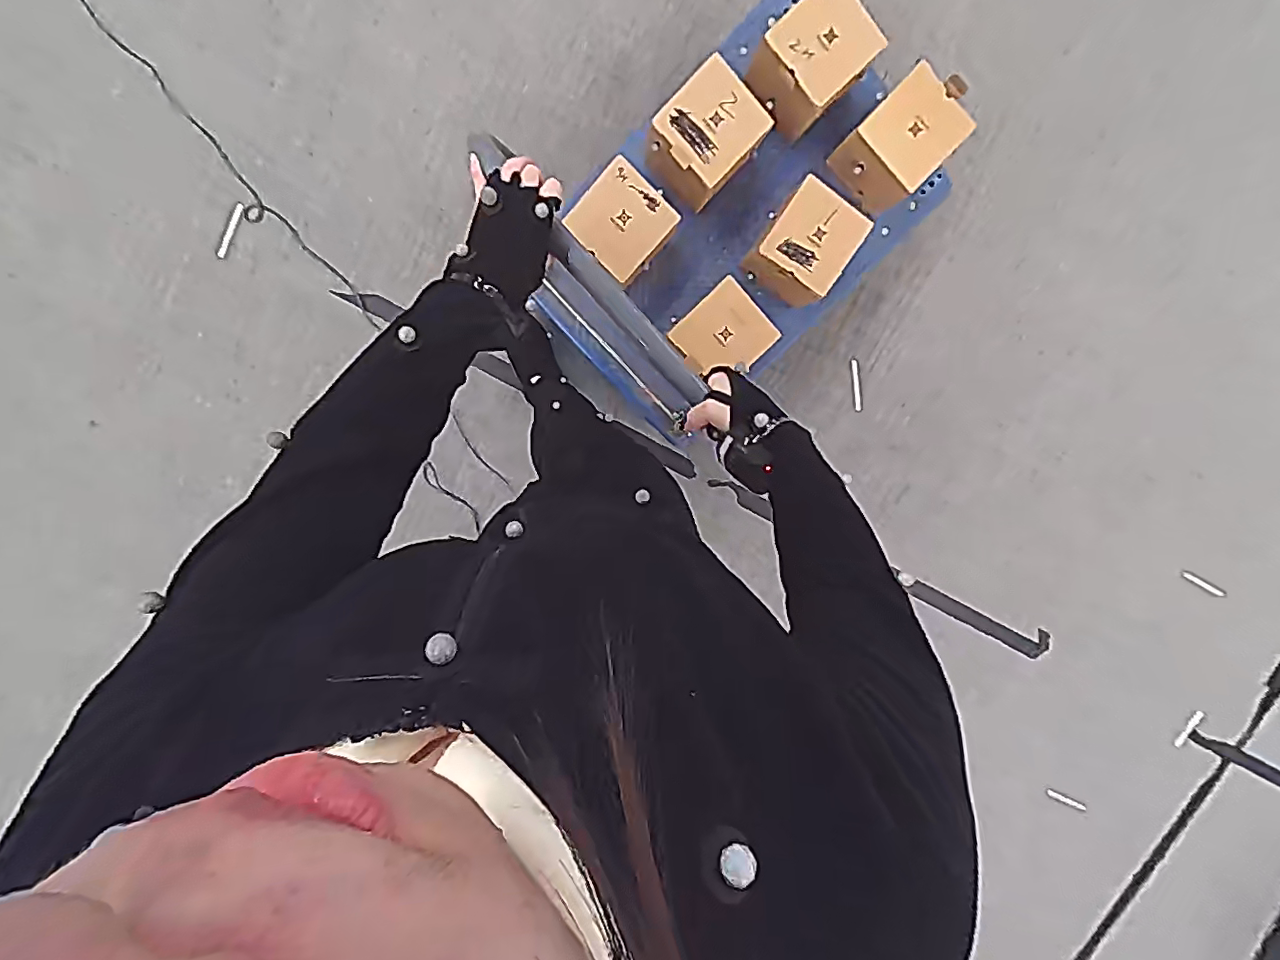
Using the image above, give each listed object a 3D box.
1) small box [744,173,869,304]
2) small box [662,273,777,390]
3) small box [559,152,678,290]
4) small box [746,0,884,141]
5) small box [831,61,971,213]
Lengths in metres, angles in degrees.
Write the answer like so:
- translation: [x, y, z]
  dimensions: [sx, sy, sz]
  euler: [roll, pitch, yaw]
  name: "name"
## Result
- translation: [0.340, -0.499, 1.152]
  dimensions: [0.168, 0.176, 0.179]
  euler: [34, 96, -9]
  name: "small box"
- translation: [0.162, -0.314, 1.177]
  dimensions: [0.179, 0.176, 0.168]
  euler: [-43, 101, 4]
  name: "small box"
- translation: [-0.045, -0.521, 1.121]
  dimensions: [0.168, 0.176, 0.179]
  euler: [43, 96, -11]
  name: "small box"
- translation: [0.340, -0.836, 1.086]
  dimensions: [0.179, 0.176, 0.168]
  euler: [-41, 100, 5]
  name: "small box"
- translation: [0.527, -0.697, 1.126]
  dimensions: [0.168, 0.176, 0.179]
  euler: [43, 96, -9]
  name: "small box"
